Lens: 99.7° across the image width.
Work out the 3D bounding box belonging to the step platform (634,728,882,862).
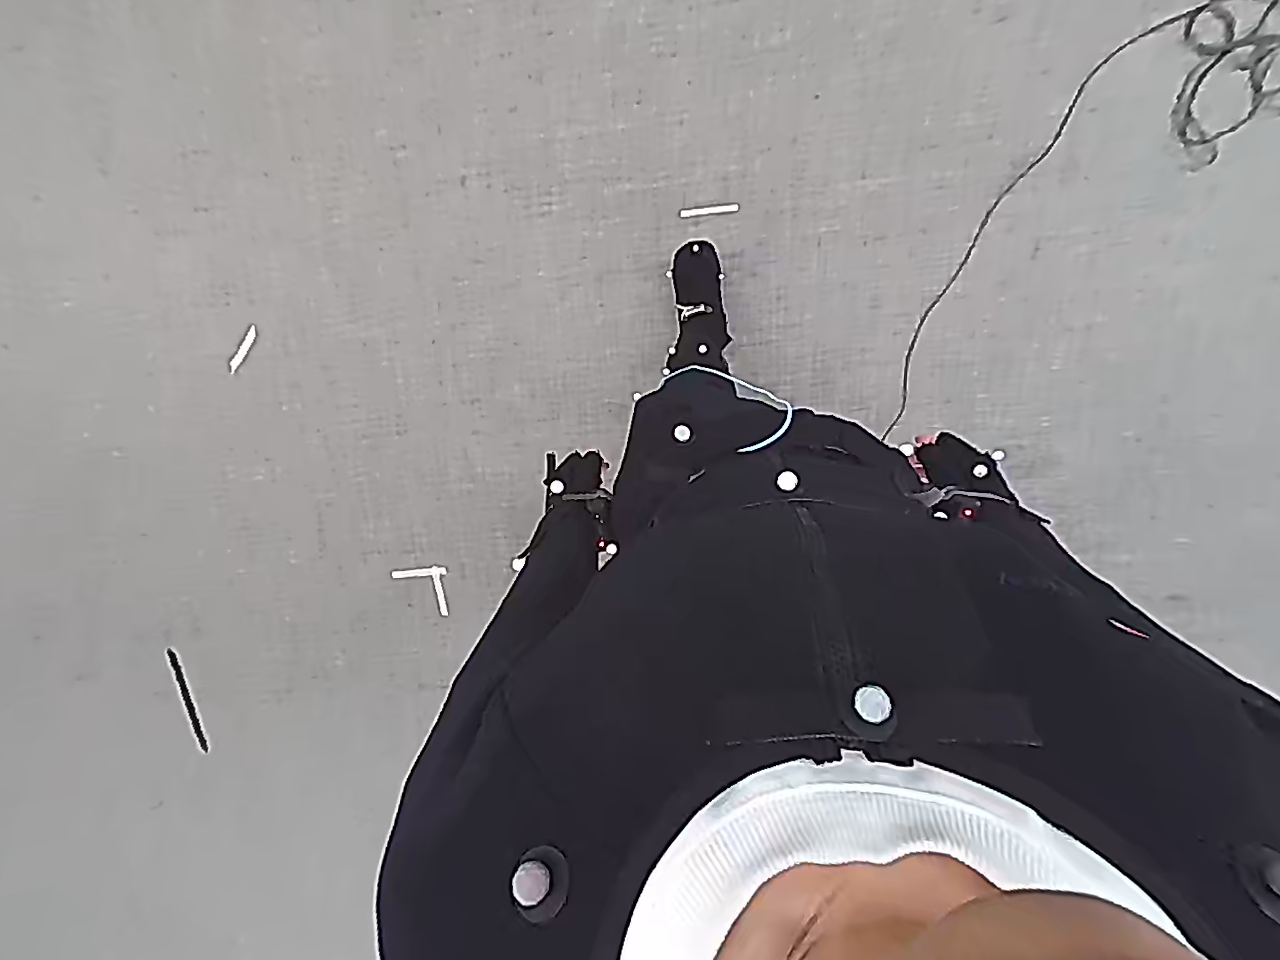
[{"bbox_3d":[0.324,0.906,1.557,0.684,0.204,0.286,-5,103,9],"label":"step platform"}]
